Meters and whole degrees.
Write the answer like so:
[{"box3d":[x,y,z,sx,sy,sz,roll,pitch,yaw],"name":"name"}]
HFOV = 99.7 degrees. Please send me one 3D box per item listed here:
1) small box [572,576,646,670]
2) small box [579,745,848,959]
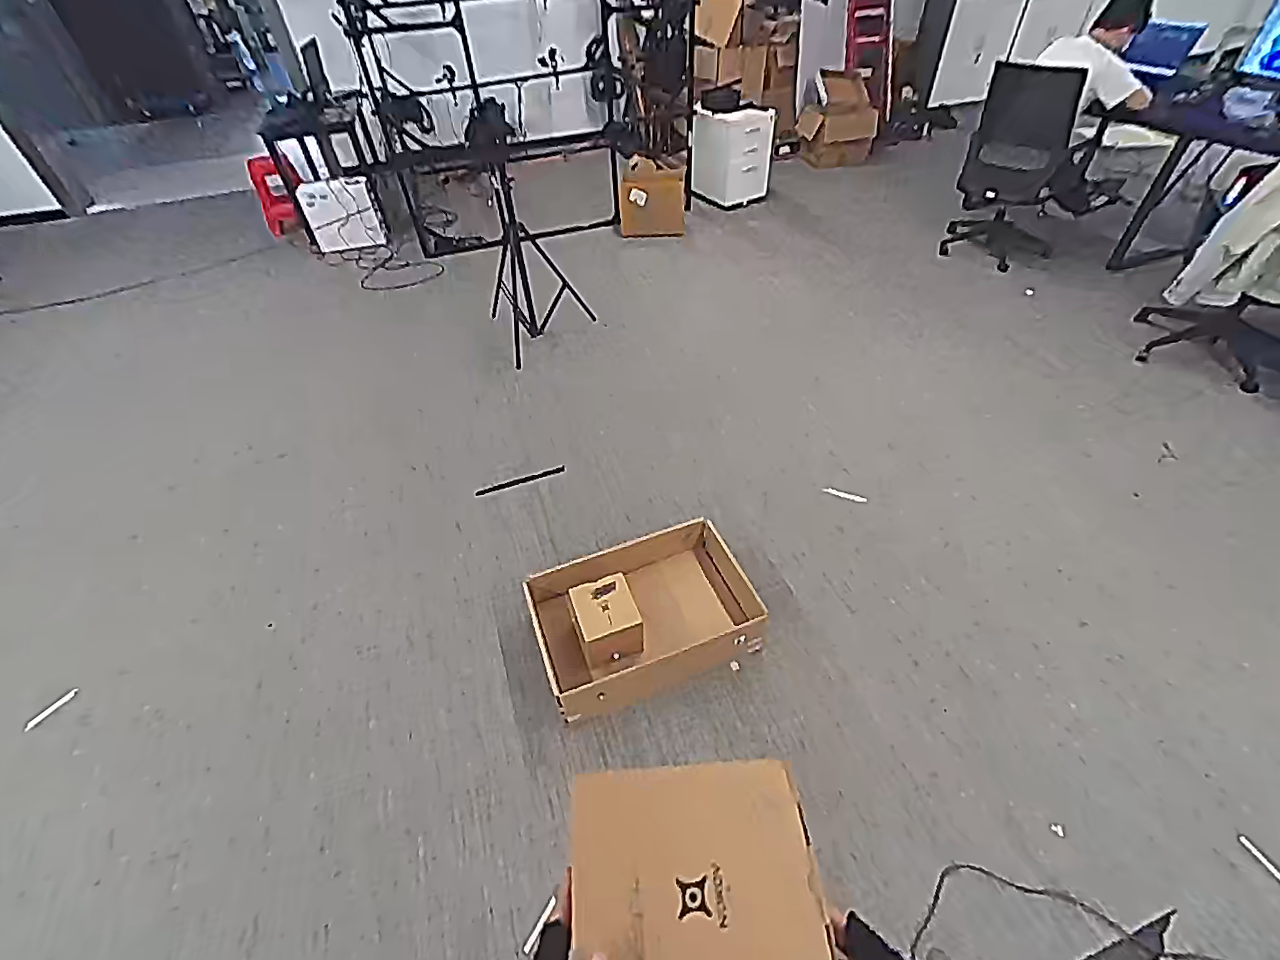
[{"box3d":[-0.088,0.412,1.558,0.168,0.176,0.179,-16,47,-13],"name":"small box"},{"box3d":[0.040,0.327,0.437,0.179,0.176,0.168,-2,50,-6],"name":"small box"}]
